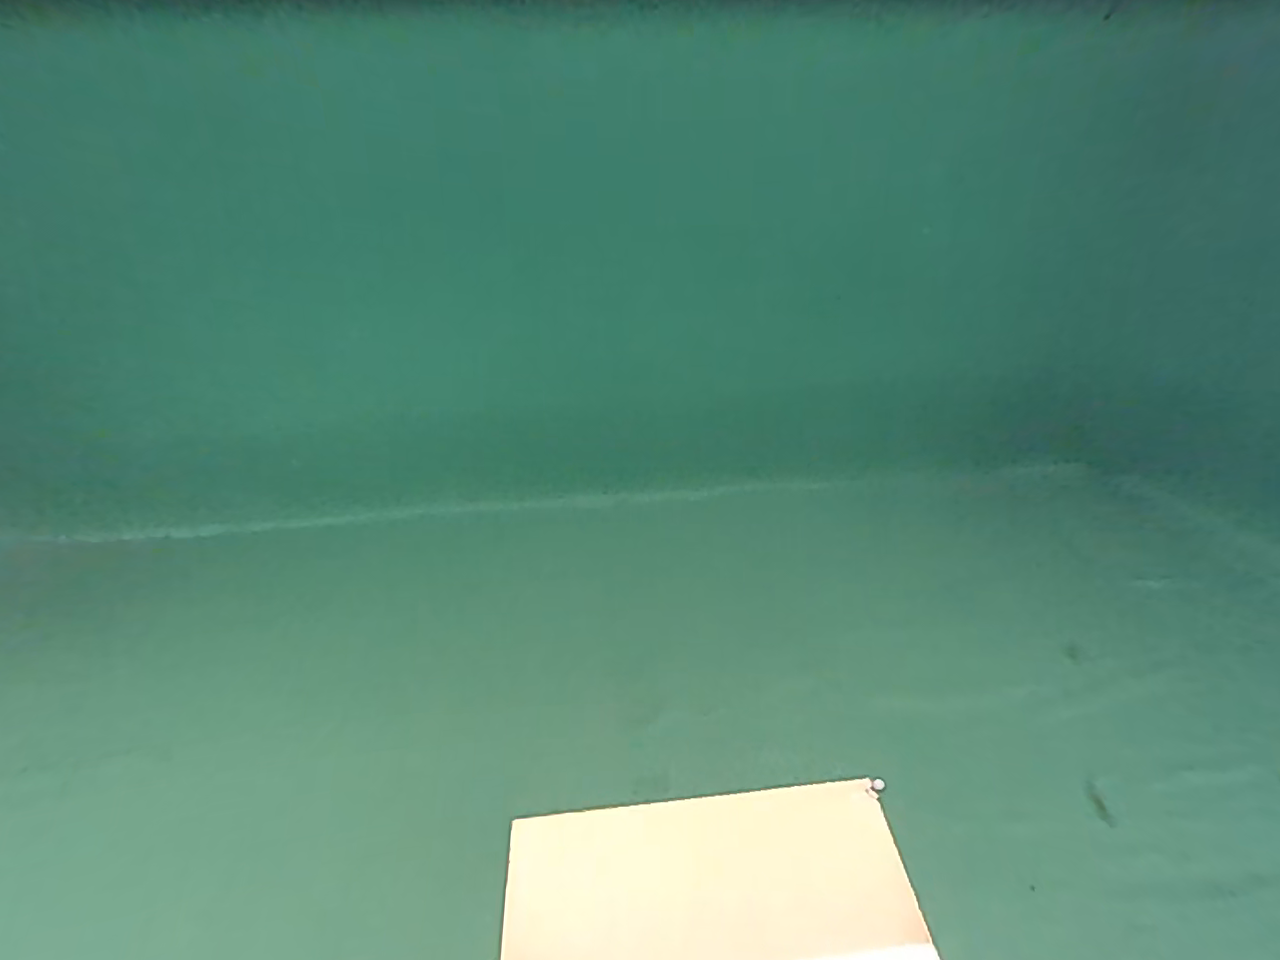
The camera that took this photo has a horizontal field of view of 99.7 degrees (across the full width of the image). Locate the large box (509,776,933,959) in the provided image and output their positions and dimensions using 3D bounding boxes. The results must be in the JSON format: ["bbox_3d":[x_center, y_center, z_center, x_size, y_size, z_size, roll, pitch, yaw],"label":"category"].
[{"bbox_3d":[0.079,0.574,0.595,0.408,0.320,0.320,-5,42,-4],"label":"large box"}]
